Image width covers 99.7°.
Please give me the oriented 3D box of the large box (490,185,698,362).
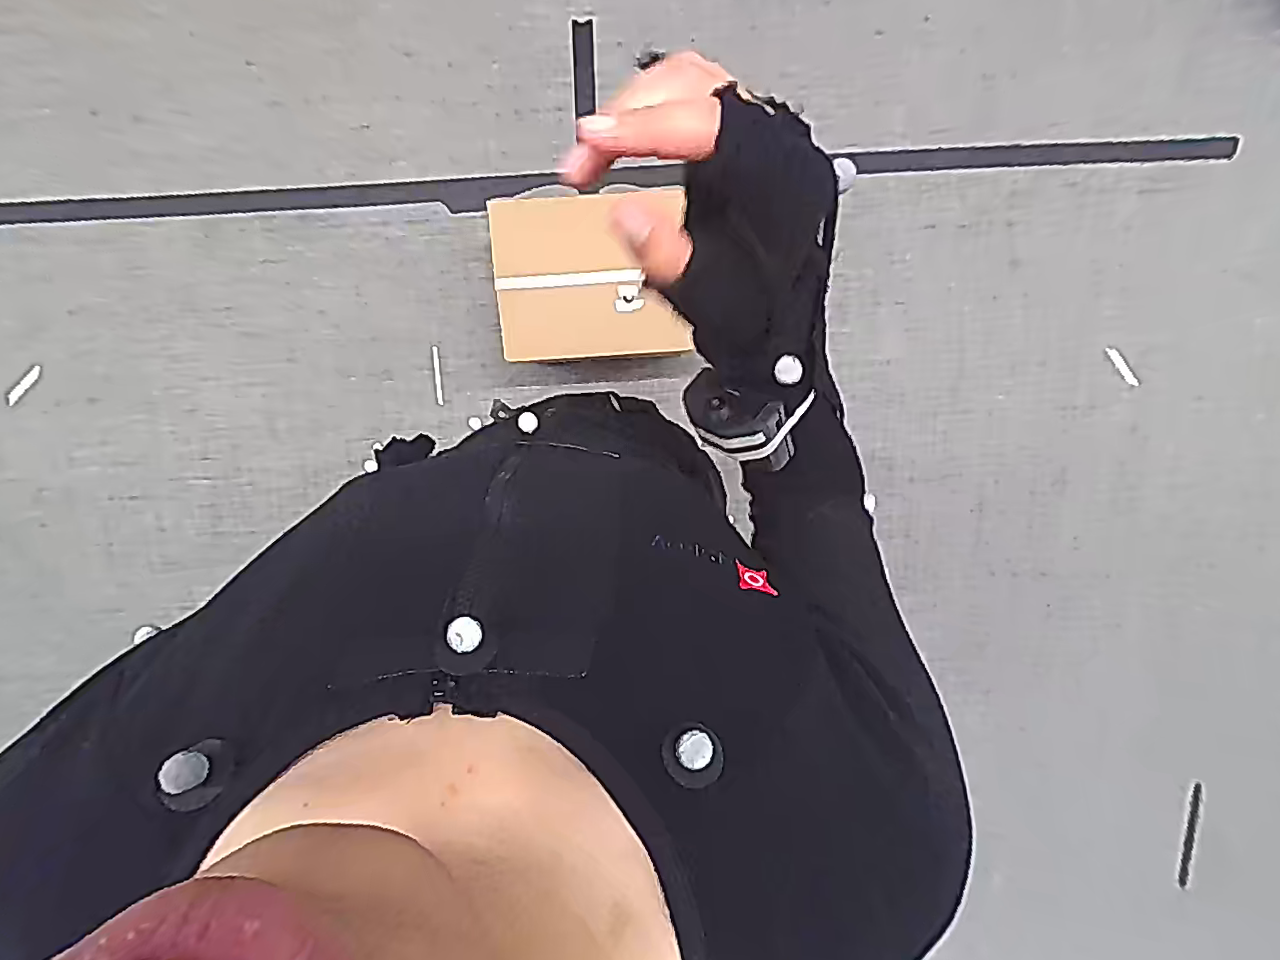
[{"bbox_3d":[-0.095,-0.448,1.243,0.408,0.320,0.320,-4,102,-1],"label":"large box"}]
